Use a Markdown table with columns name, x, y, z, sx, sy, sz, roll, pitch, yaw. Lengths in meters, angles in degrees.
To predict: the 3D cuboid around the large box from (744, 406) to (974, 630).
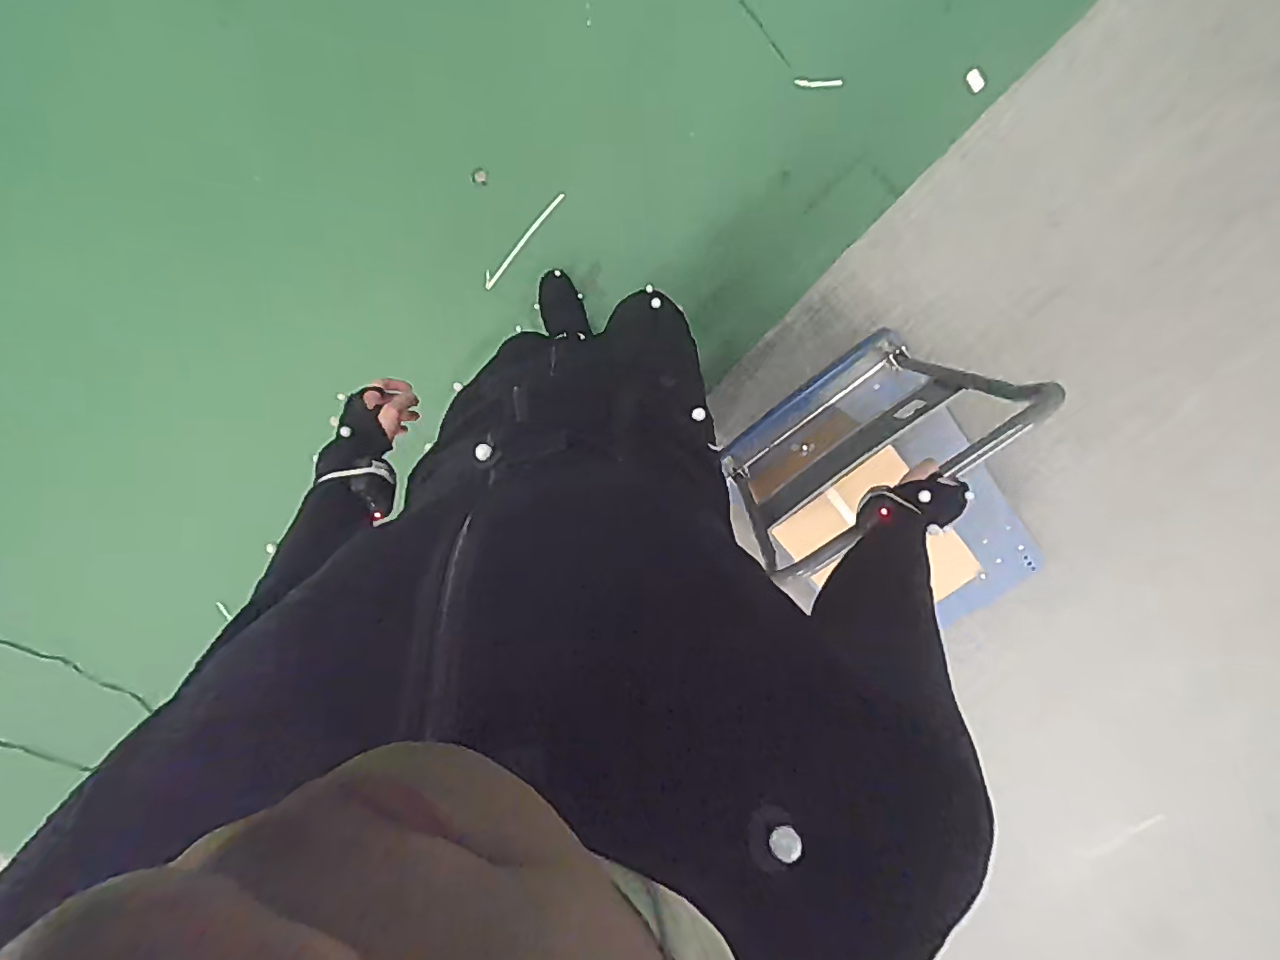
| name | x | y | z | sx | sy | sz | roll | pitch | yaw |
| --- | --- | --- | --- | --- | --- | --- | --- | --- | --- |
| large box | 0.525 | 0.083 | 1.363 | 0.320 | 0.320 | 0.408 | -39 | 107 | 14 |
